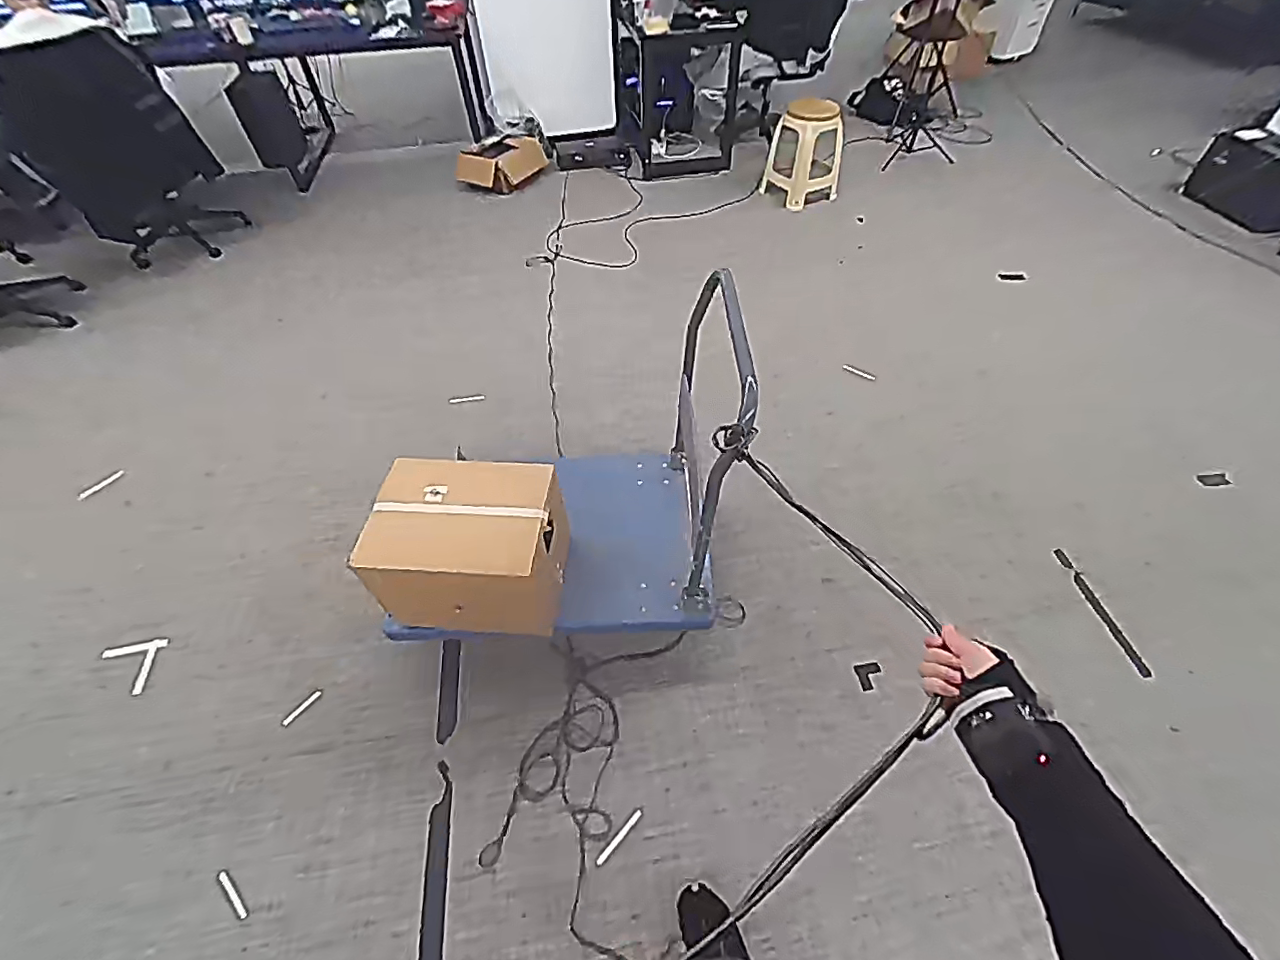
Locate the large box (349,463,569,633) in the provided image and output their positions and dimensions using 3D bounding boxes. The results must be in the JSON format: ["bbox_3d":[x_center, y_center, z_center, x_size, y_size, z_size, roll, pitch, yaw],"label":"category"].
[{"bbox_3d":[-0.410,0.173,1.349,0.408,0.320,0.320,2,50,4],"label":"large box"}]
